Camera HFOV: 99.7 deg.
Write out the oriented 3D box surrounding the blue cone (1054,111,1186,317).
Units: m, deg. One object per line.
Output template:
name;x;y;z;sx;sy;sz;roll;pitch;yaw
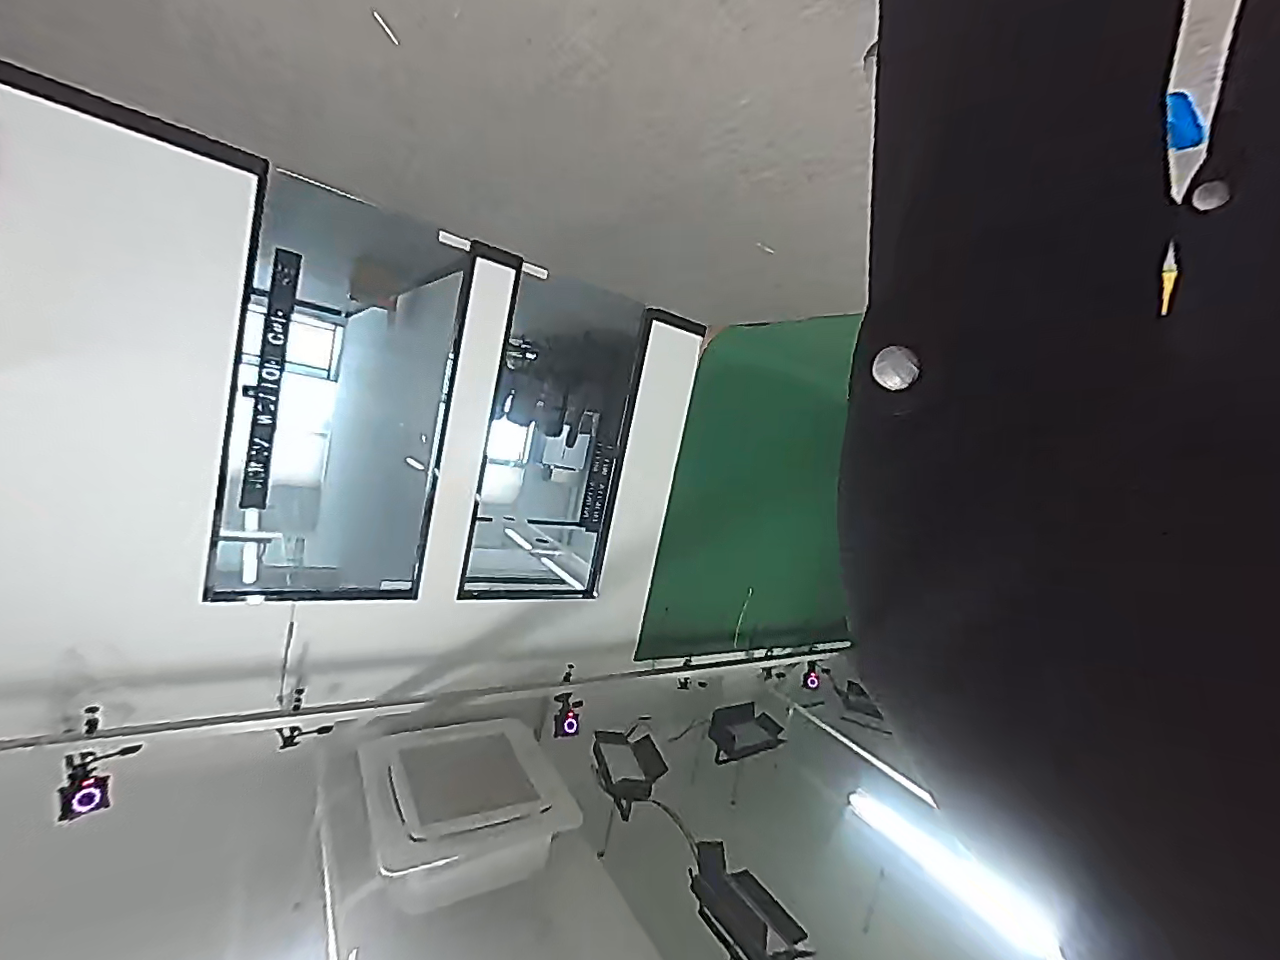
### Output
blue cone;0.969;-0.539;1.147;0.193;0.380;0.192;10;-174;-36
